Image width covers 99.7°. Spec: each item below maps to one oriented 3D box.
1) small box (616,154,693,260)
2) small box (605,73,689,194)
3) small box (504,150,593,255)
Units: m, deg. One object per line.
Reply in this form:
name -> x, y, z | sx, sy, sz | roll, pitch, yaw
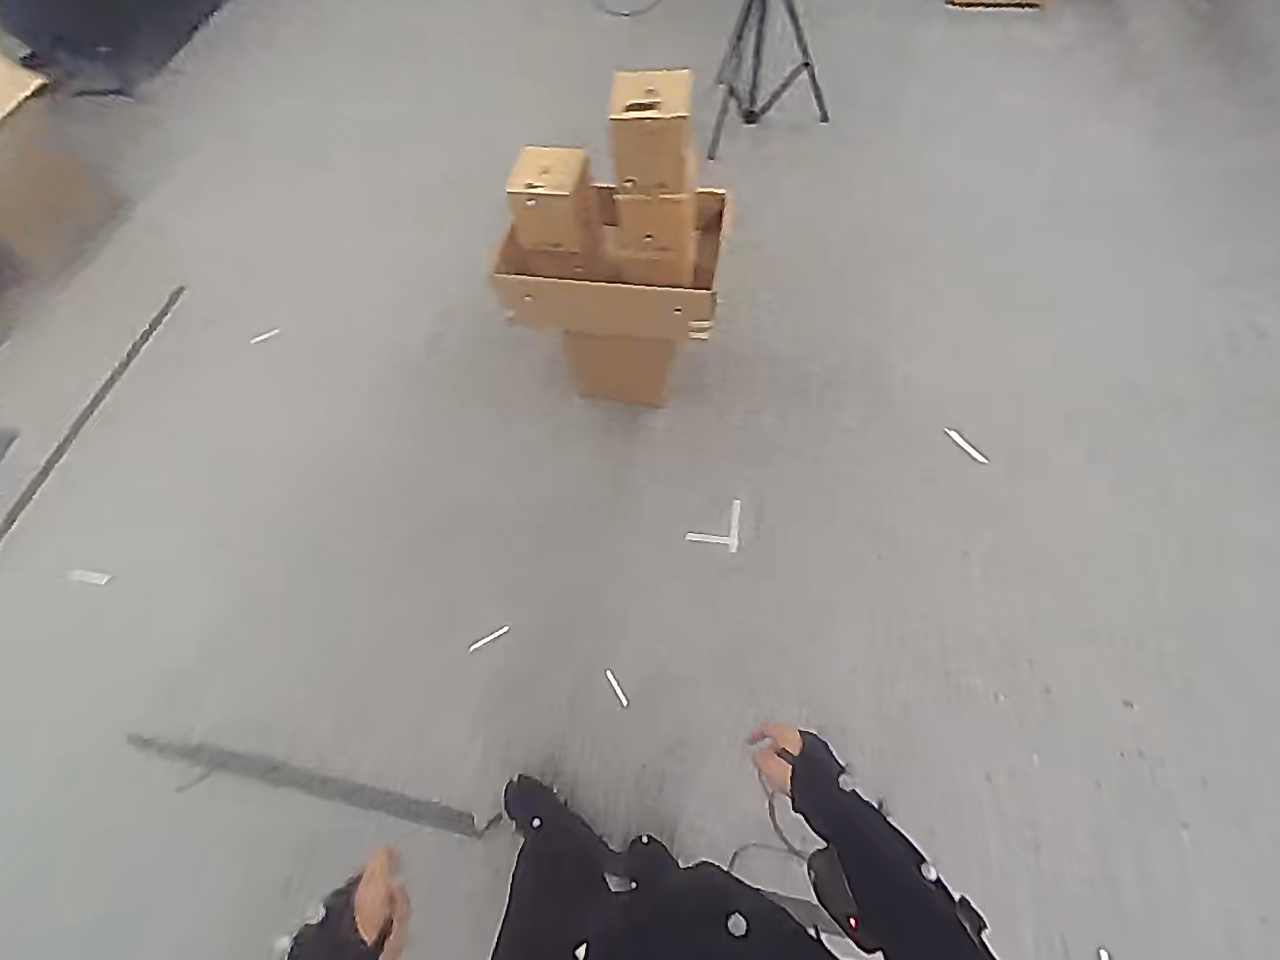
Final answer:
small box -> 0.041, -0.680, 1.345 | 0.168, 0.176, 0.179 | 5, 64, 8
small box -> 0.023, -0.765, 1.205 | 0.168, 0.176, 0.179 | 2, 63, 6
small box -> -0.223, -0.708, 1.382 | 0.168, 0.176, 0.179 | 7, 63, 10
